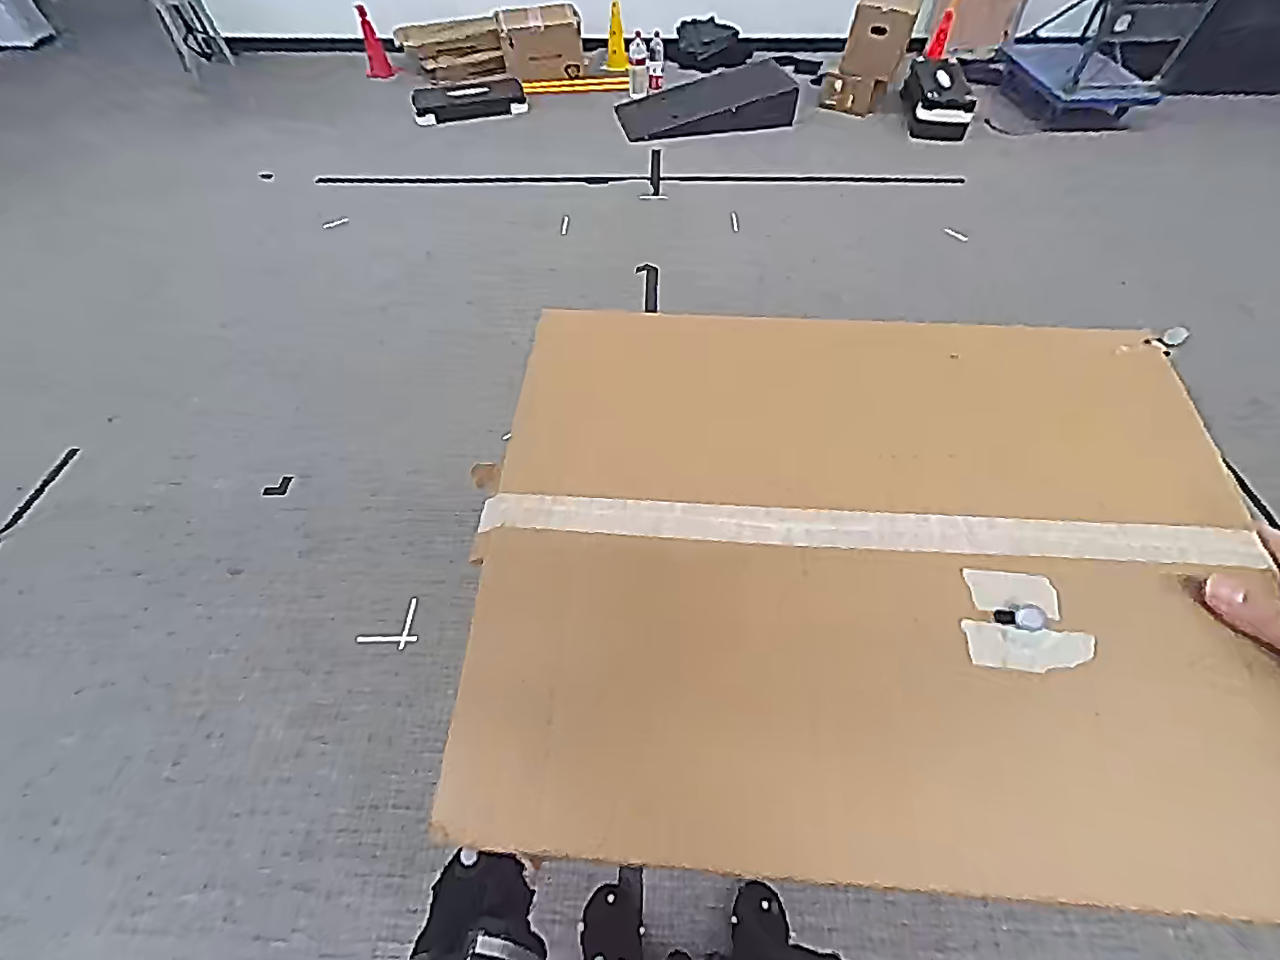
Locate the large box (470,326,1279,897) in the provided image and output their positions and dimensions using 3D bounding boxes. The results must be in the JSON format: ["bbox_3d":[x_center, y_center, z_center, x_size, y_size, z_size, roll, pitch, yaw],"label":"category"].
[{"bbox_3d":[0.128,0.105,0.435,0.408,0.320,0.320,4,62,2],"label":"large box"}]
